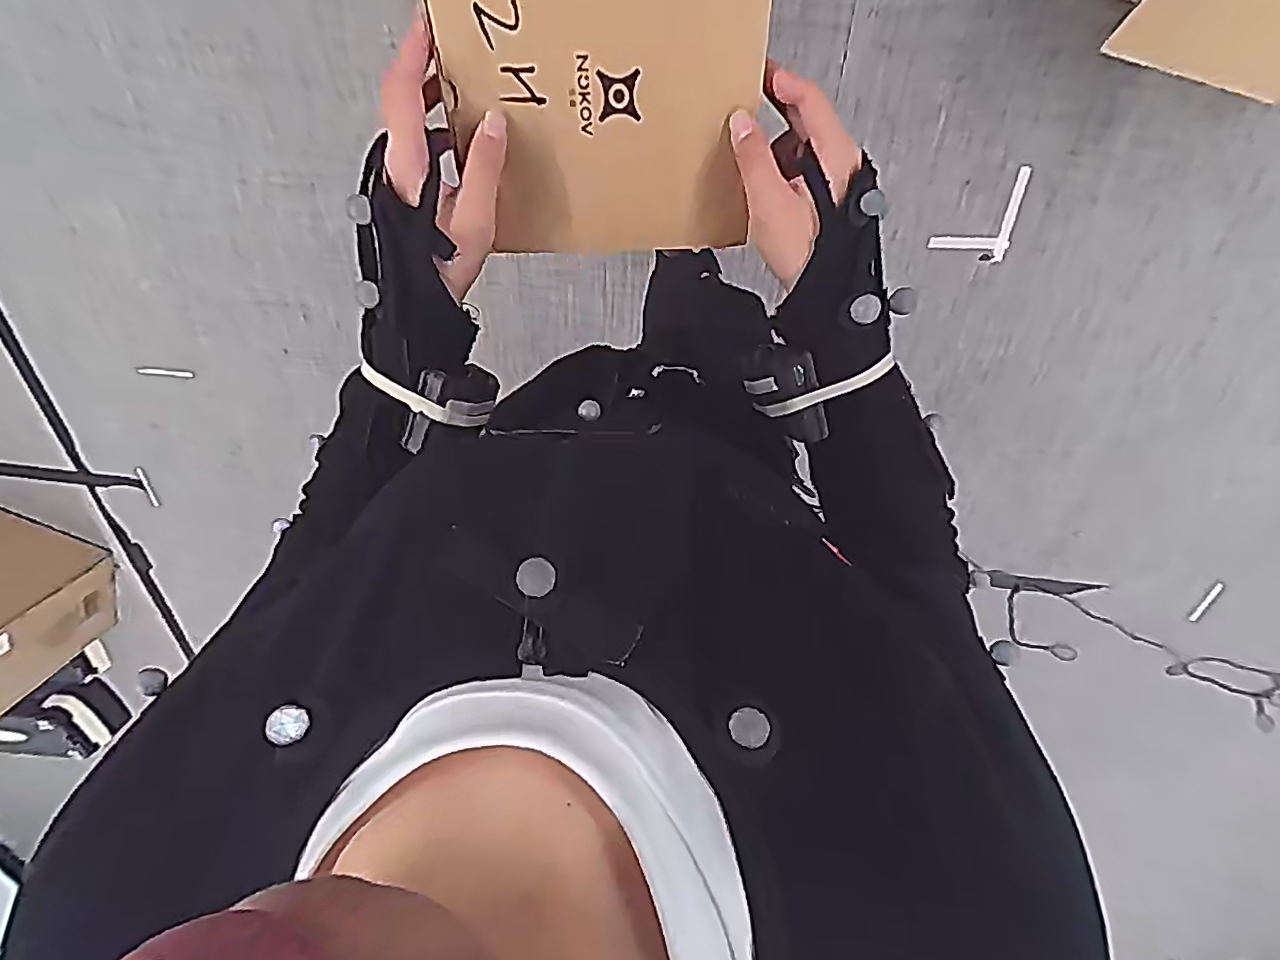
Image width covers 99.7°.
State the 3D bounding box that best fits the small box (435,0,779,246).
[{"bbox_3d":[-0.019,-0.266,0.355,0.179,0.176,0.168,-1,131,-1],"label":"small box"}]
